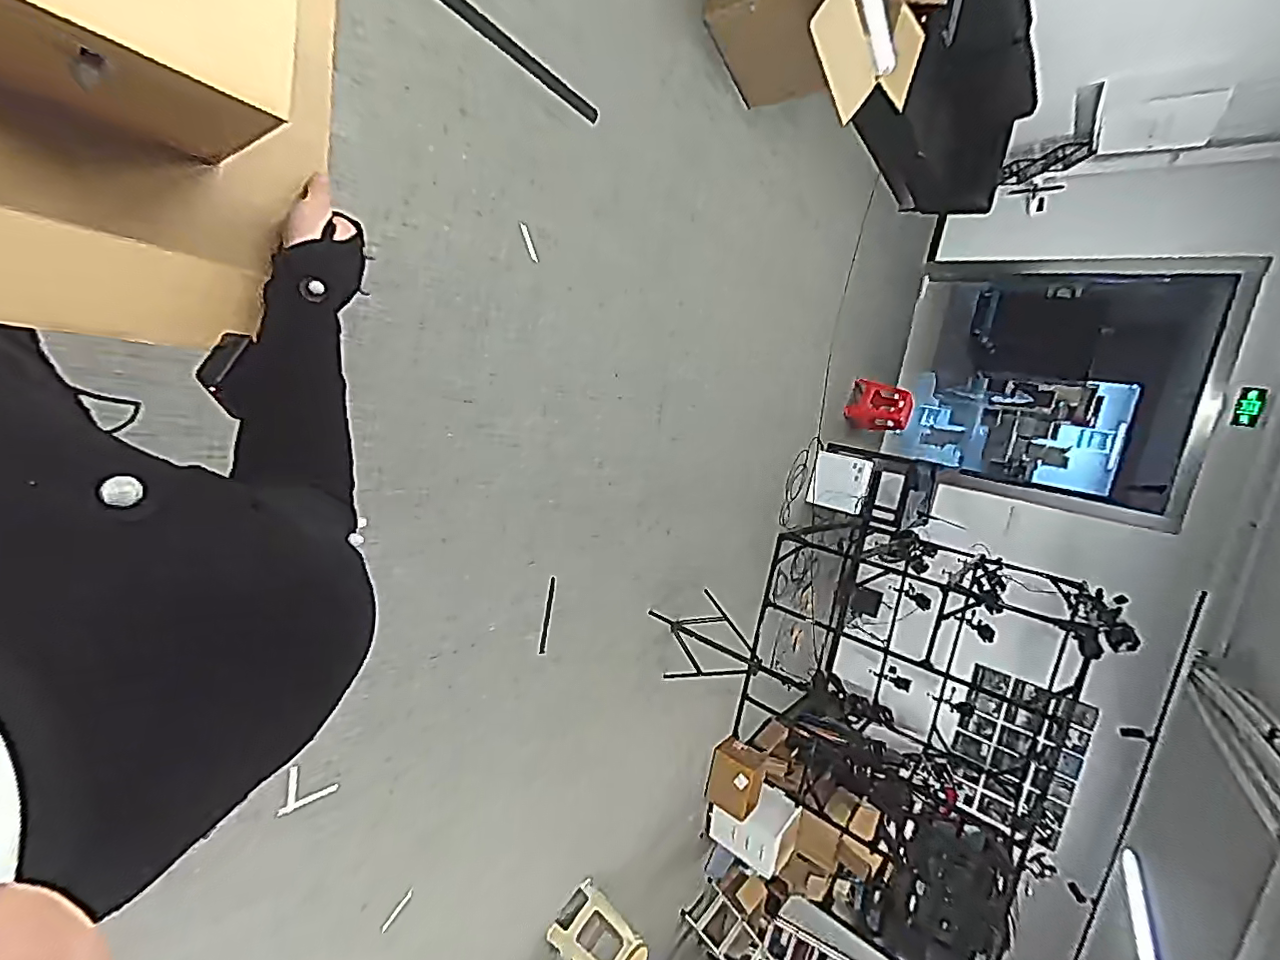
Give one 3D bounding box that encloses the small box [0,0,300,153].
[{"bbox_3d":[-0.357,-0.349,0.364,0.179,0.176,0.168,0,100,-51],"label":"small box"}]
